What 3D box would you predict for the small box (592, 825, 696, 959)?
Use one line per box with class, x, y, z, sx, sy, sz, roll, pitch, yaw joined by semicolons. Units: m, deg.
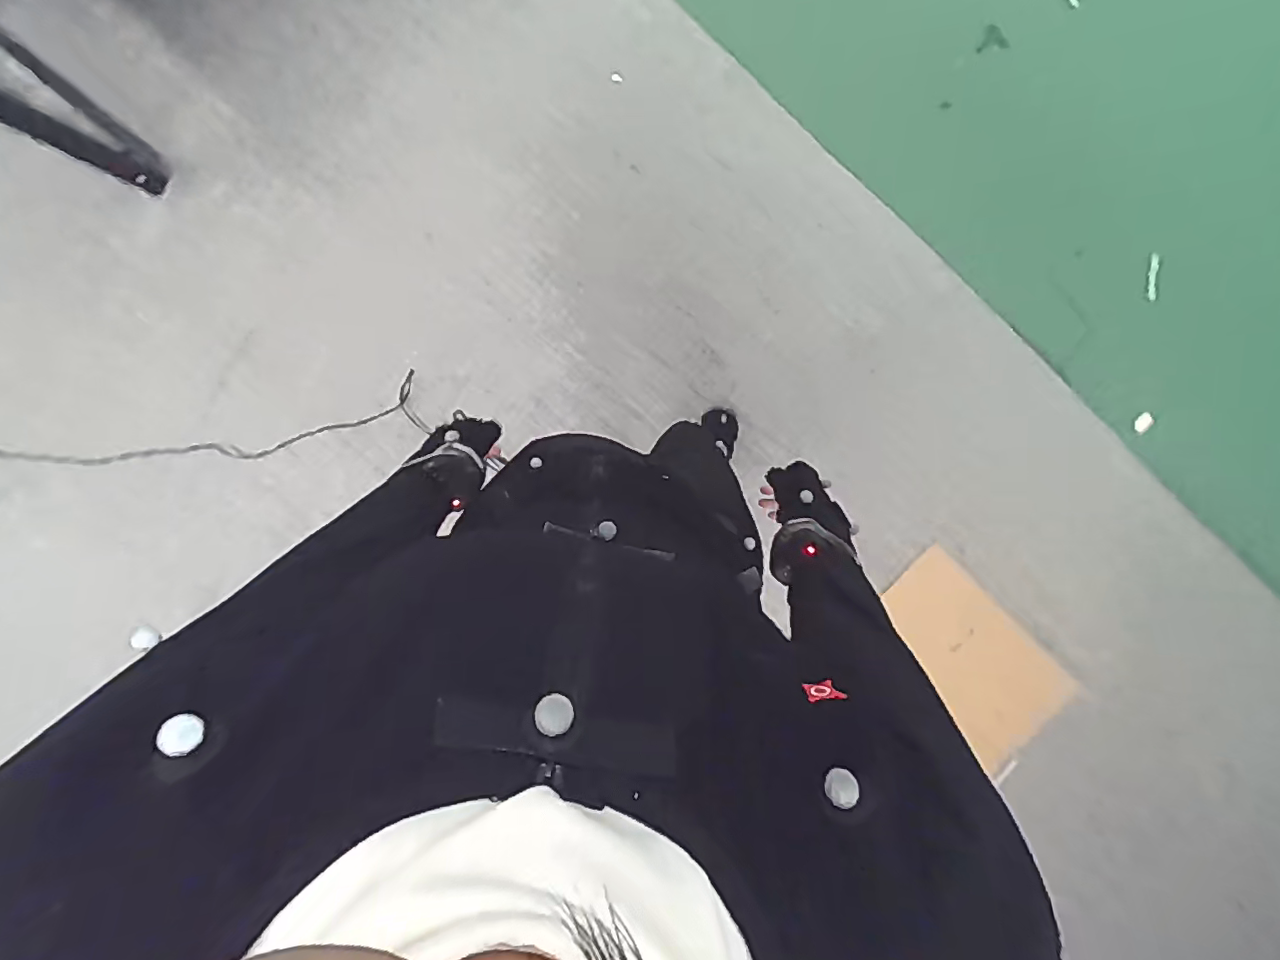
small box;0.008;0.862;1.111;0.168;0.176;0.179;-17;94;-1
